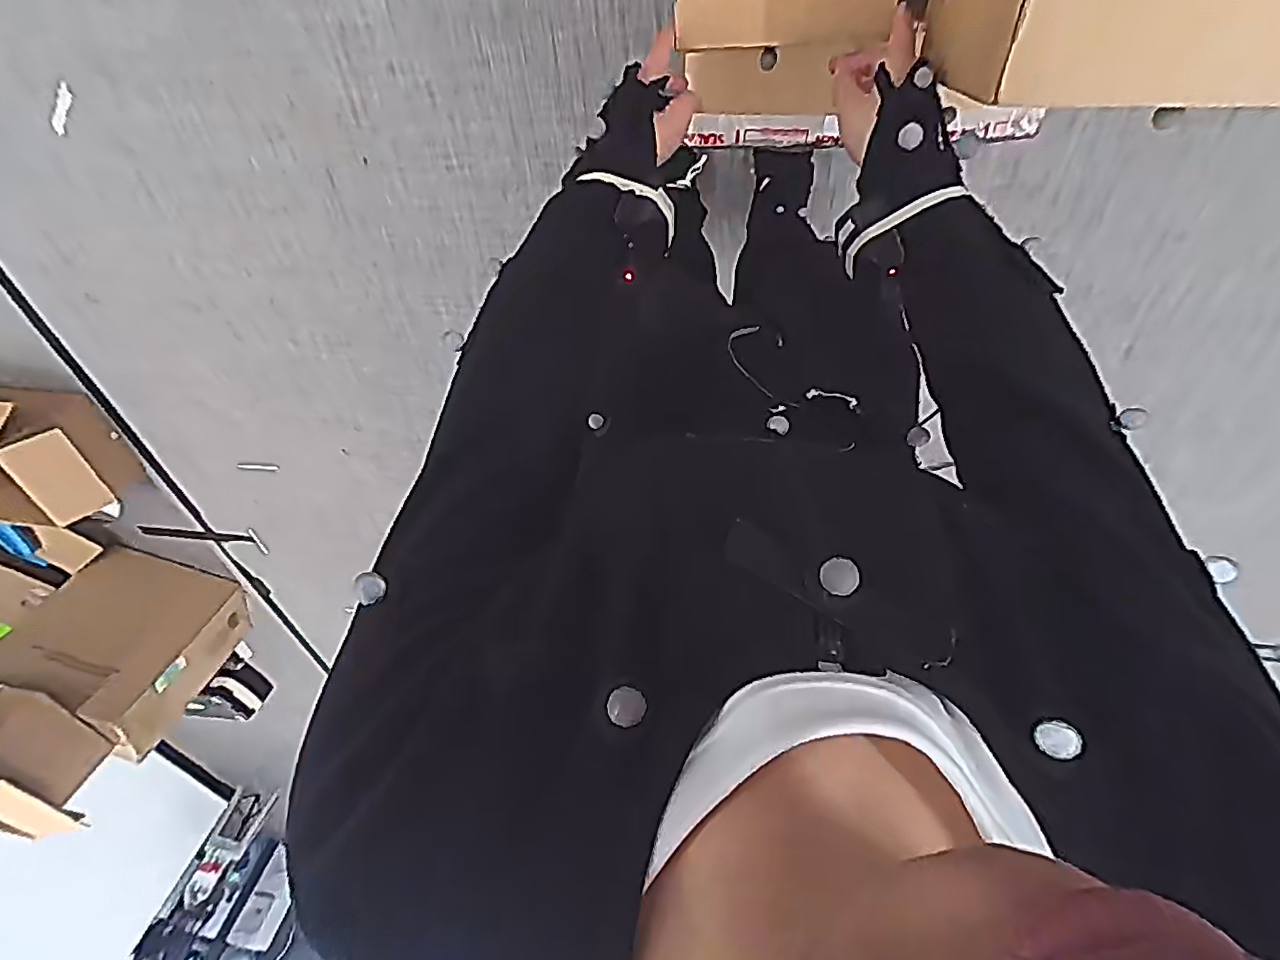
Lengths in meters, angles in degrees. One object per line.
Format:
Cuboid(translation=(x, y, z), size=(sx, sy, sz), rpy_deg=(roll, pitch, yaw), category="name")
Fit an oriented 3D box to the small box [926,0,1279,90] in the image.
Cuboid(translation=(0.297, -0.336, 0.308), size=(0.179, 0.176, 0.168), rpy_deg=(3, 133, 6), category="small box")
